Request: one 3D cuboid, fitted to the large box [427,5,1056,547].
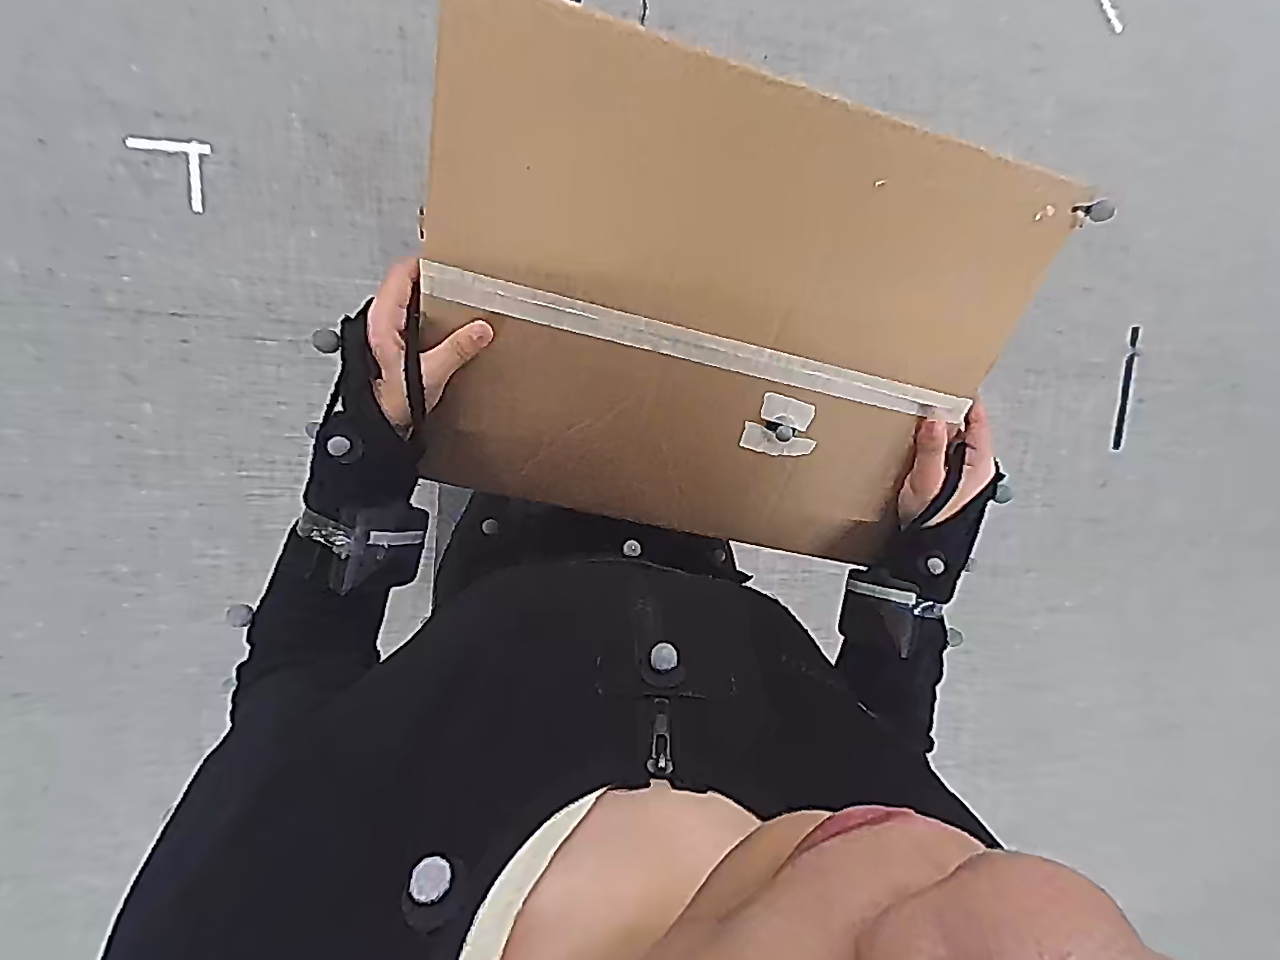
[{"bbox_3d":[0.042,-0.172,0.526,0.408,0.320,0.320,11,120,-10],"label":"large box"}]
